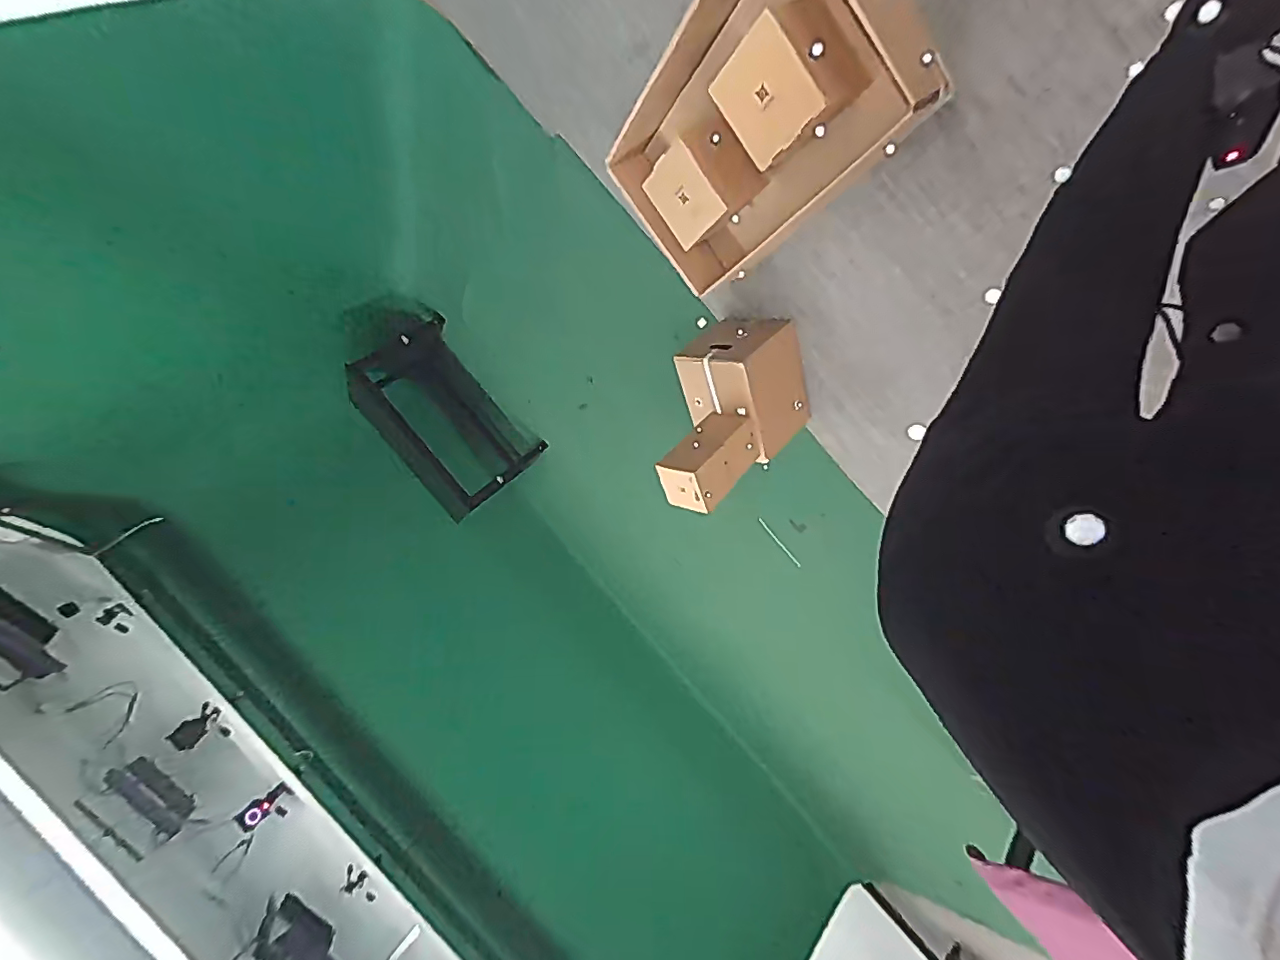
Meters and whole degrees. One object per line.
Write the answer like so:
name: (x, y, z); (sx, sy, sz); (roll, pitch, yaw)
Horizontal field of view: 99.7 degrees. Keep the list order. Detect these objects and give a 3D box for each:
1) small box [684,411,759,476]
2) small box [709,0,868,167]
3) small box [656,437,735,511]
small box: (0.287, -0.126, 1.886); (0.179, 0.176, 0.168); (14, 138, 44)
small box: (0.264, -0.710, 0.962); (0.179, 0.176, 0.168); (51, 152, -10)
small box: (0.188, -0.027, 1.800); (0.179, 0.176, 0.168); (15, 138, 45)
